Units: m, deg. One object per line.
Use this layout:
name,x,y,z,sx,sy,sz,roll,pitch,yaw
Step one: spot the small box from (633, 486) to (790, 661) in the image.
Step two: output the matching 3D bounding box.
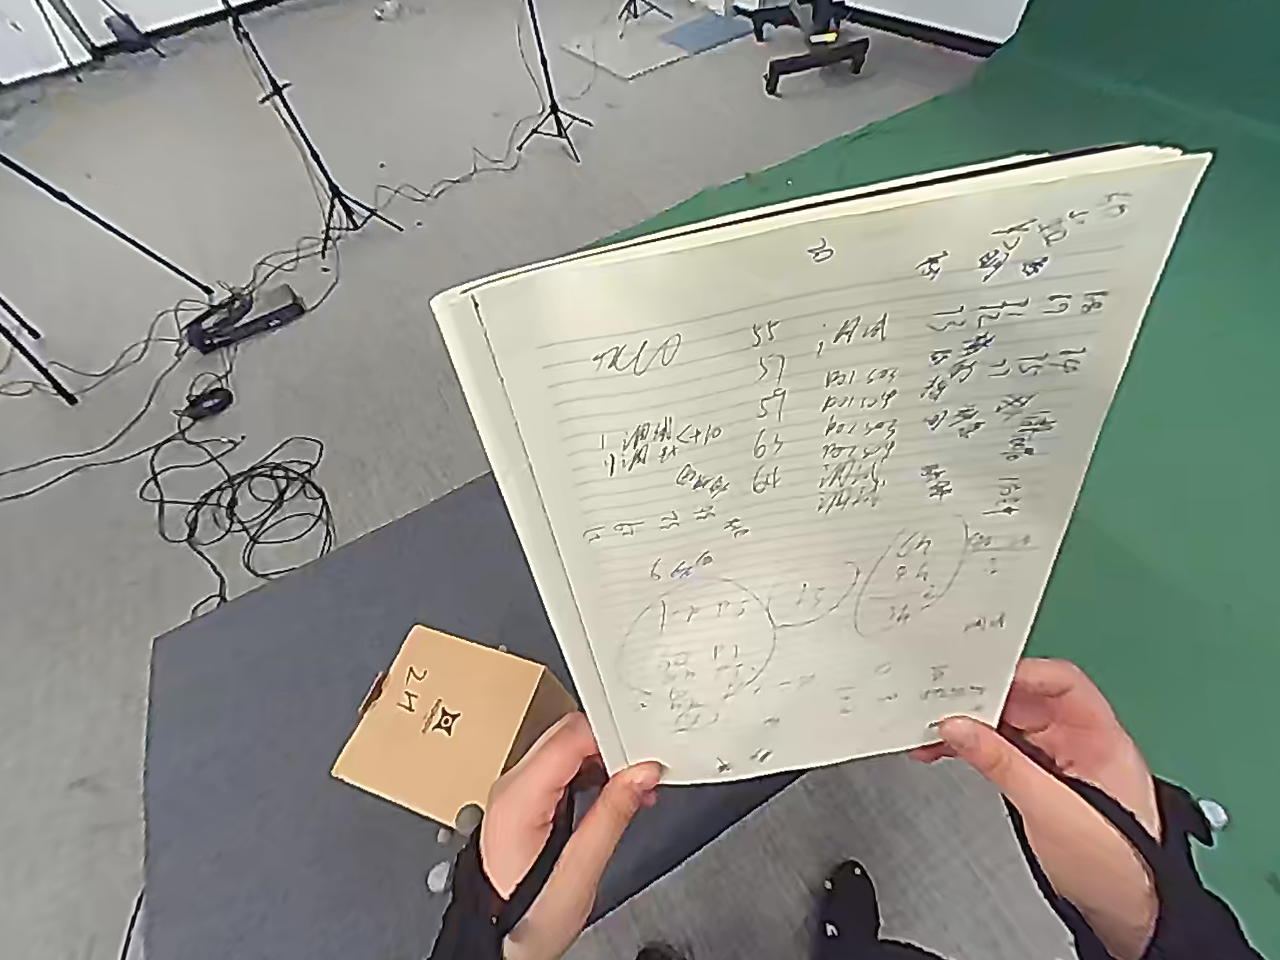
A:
small box,0.088,0.127,0.707,0.179,0.176,0.168,-6,54,6

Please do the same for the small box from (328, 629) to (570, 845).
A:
small box,-0.200,0.299,0.626,0.179,0.176,0.168,11,56,16
